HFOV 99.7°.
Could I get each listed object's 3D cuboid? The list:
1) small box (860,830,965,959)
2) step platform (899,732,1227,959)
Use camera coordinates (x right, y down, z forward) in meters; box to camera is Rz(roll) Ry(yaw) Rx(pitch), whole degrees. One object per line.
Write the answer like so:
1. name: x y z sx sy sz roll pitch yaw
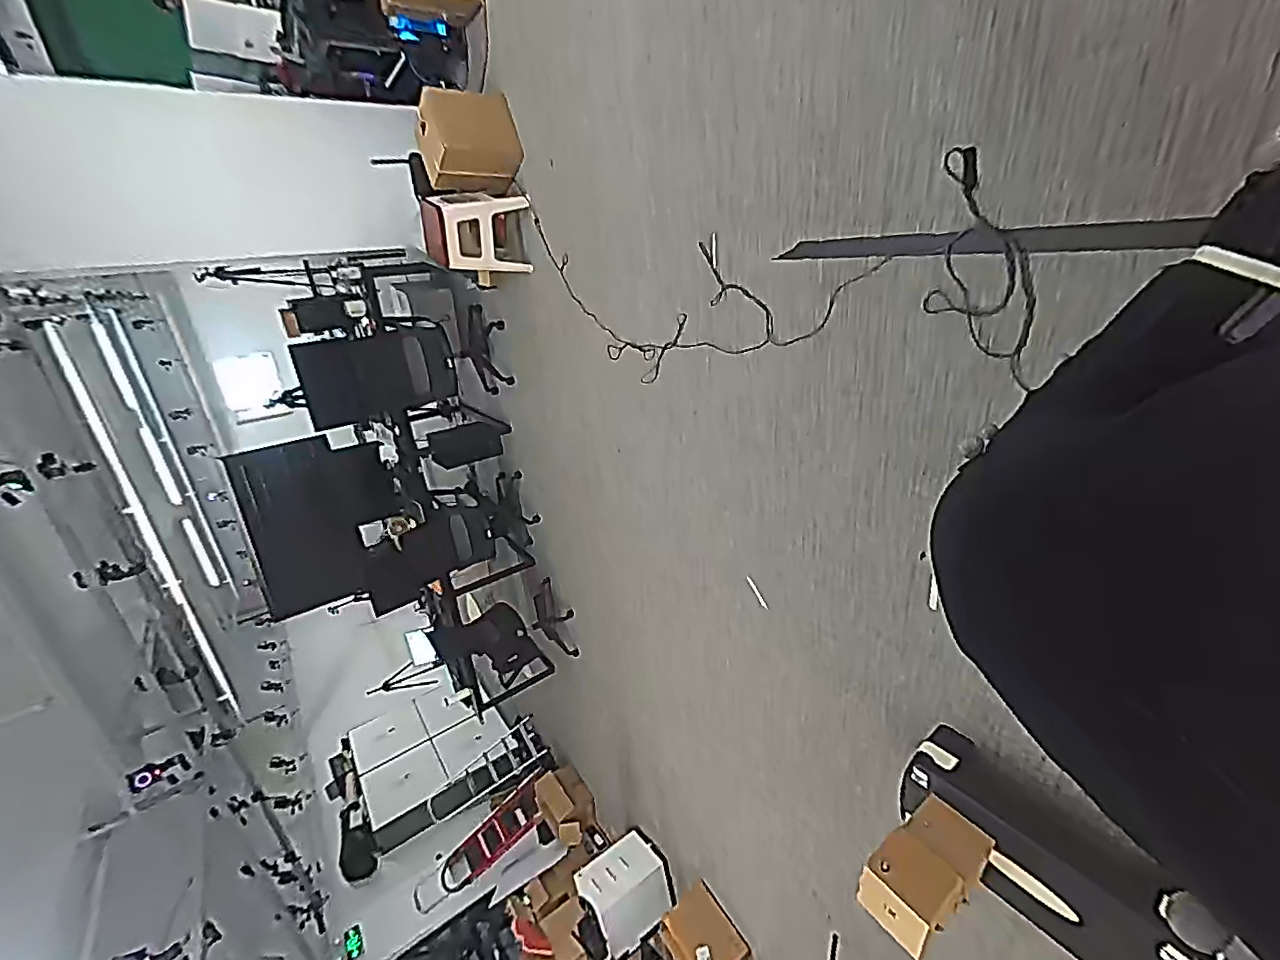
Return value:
1. small box: 0.703 1.063 1.397 0.179 0.176 0.168 29 131 48
2. step platform: 1.065 1.026 1.462 0.684 0.204 0.286 24 127 49
